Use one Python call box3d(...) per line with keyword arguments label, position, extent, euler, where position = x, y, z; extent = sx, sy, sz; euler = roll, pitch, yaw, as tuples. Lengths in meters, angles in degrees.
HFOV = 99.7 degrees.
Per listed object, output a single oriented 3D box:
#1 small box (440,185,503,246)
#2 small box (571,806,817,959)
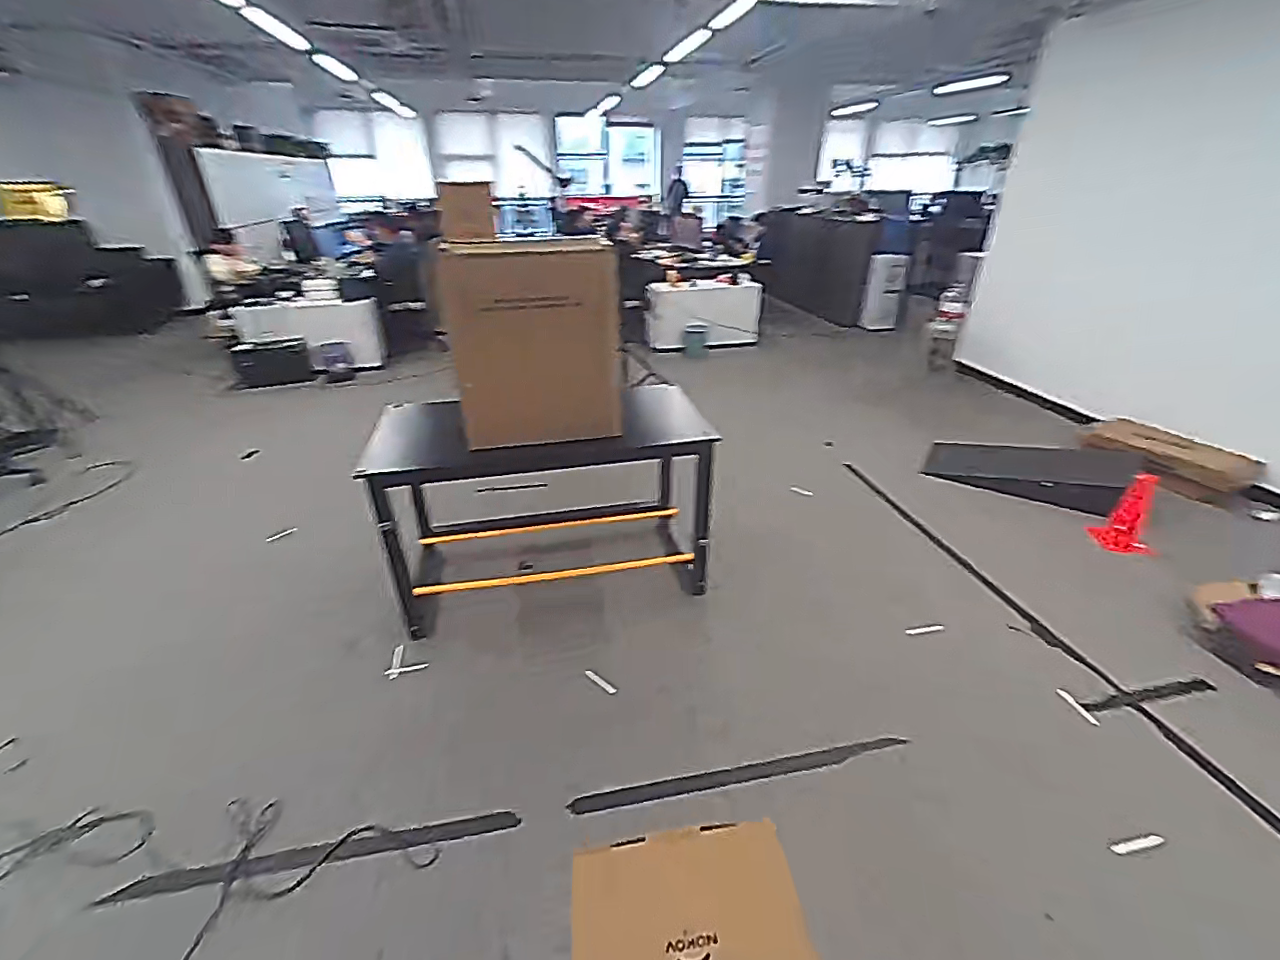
box3d(label="small box", position=(-0.533, -0.844, 1.729), extent=(0.168, 0.176, 0.179), euler=(-5, 28, -11))
box3d(label="small box", position=(0.042, 0.390, 0.405), extent=(0.168, 0.176, 0.179), euler=(-9, 30, -4))
